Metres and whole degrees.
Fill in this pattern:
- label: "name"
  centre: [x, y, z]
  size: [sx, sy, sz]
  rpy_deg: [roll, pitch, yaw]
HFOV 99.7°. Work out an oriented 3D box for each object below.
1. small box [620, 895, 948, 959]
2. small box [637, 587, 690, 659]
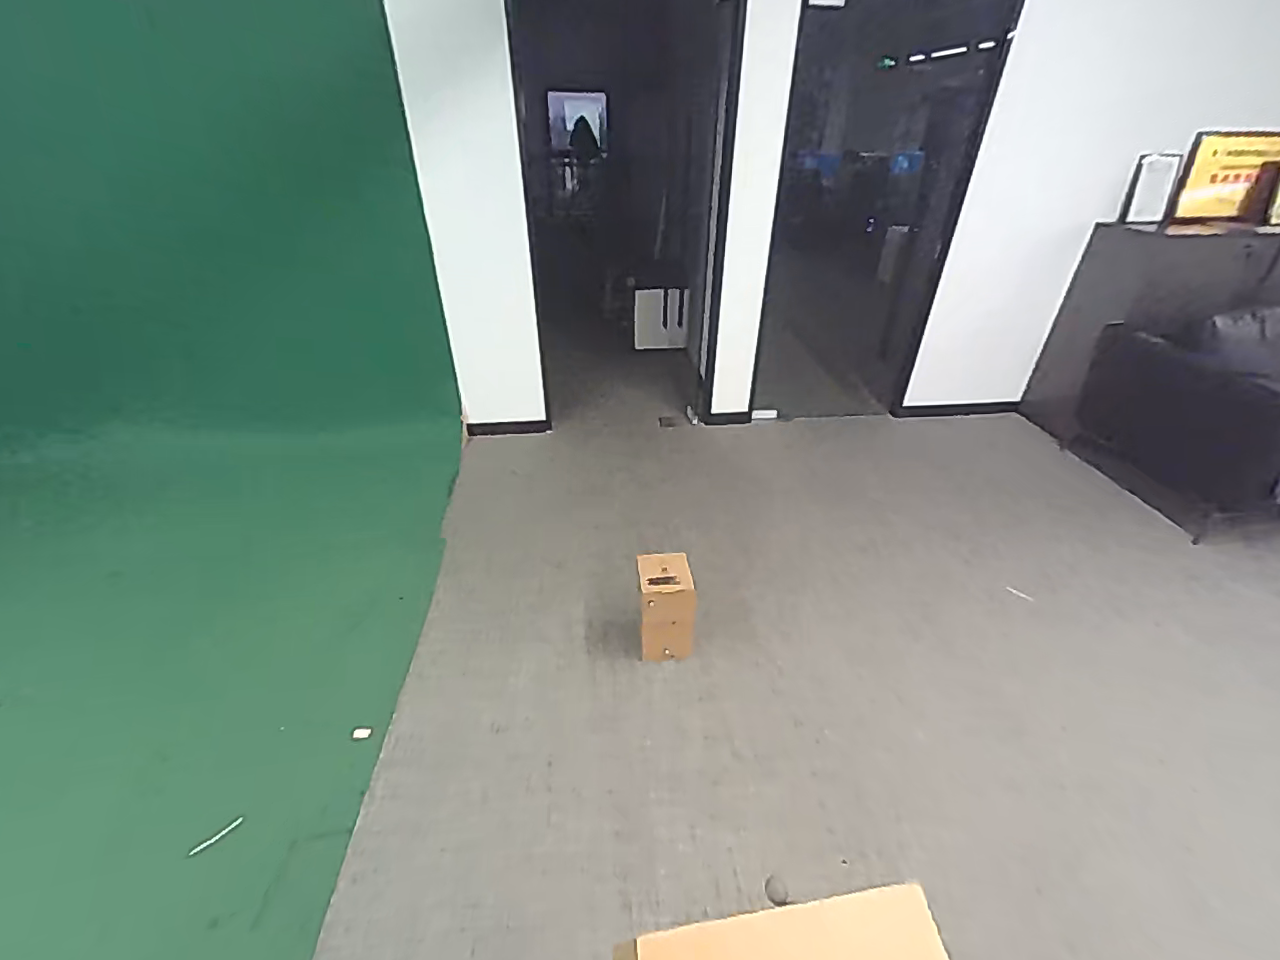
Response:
- label: "small box"
  centre: [0.082, 0.355, 0.301]
  size: [0.168, 0.176, 0.179]
  rpy_deg: [-2, 52, -10]
- label: "small box"
  centre: [0.076, 0.493, 1.865]
  size: [0.168, 0.176, 0.179]
  rpy_deg: [-3, 35, -4]
